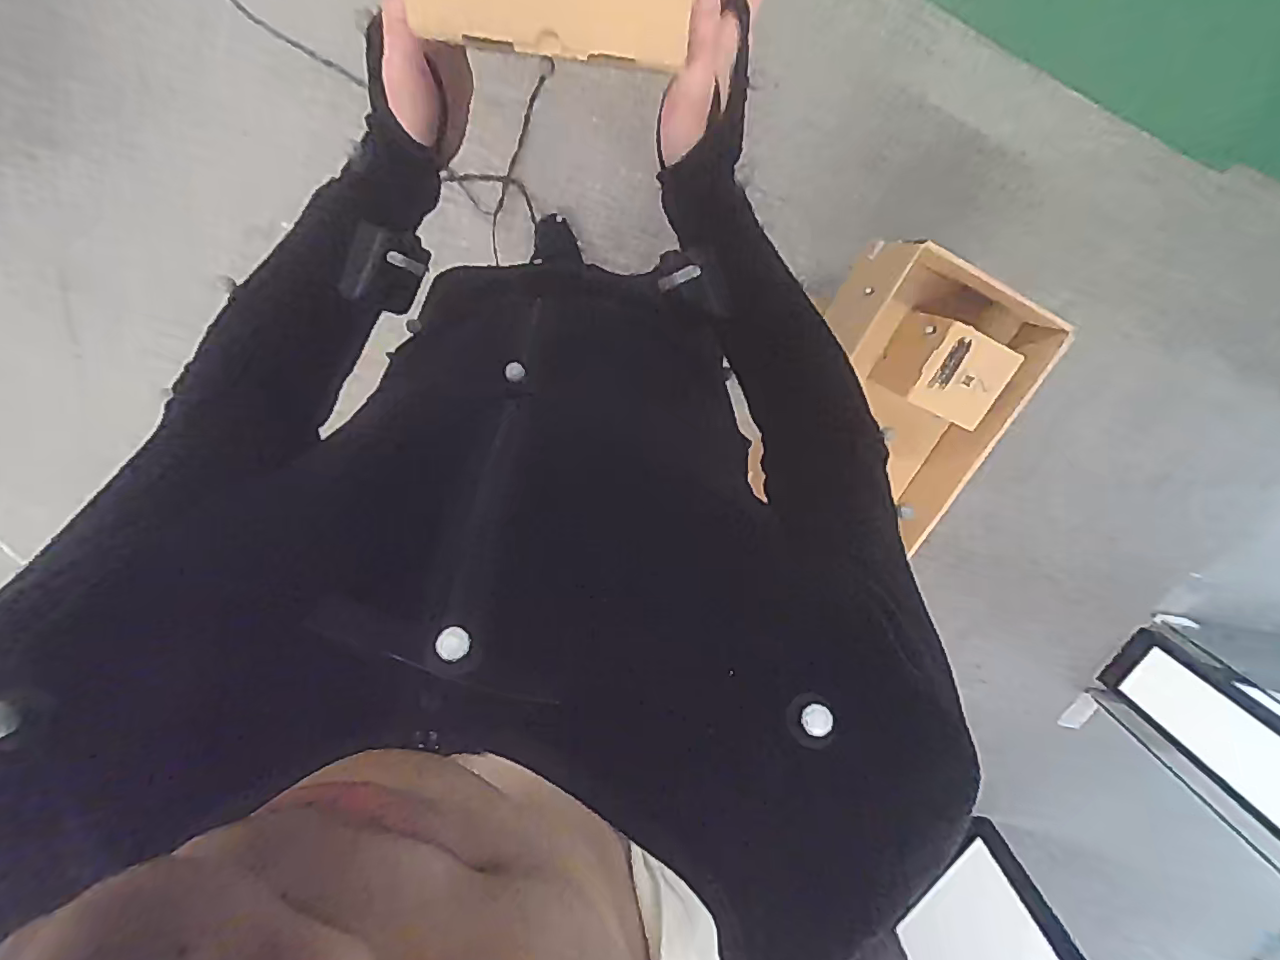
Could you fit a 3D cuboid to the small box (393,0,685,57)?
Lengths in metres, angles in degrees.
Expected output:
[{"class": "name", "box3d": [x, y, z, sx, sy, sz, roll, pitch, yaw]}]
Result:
[{"class": "small box", "box3d": [-0.053, -0.374, 0.324, 0.168, 0.176, 0.179, 3, 129, -5]}]
